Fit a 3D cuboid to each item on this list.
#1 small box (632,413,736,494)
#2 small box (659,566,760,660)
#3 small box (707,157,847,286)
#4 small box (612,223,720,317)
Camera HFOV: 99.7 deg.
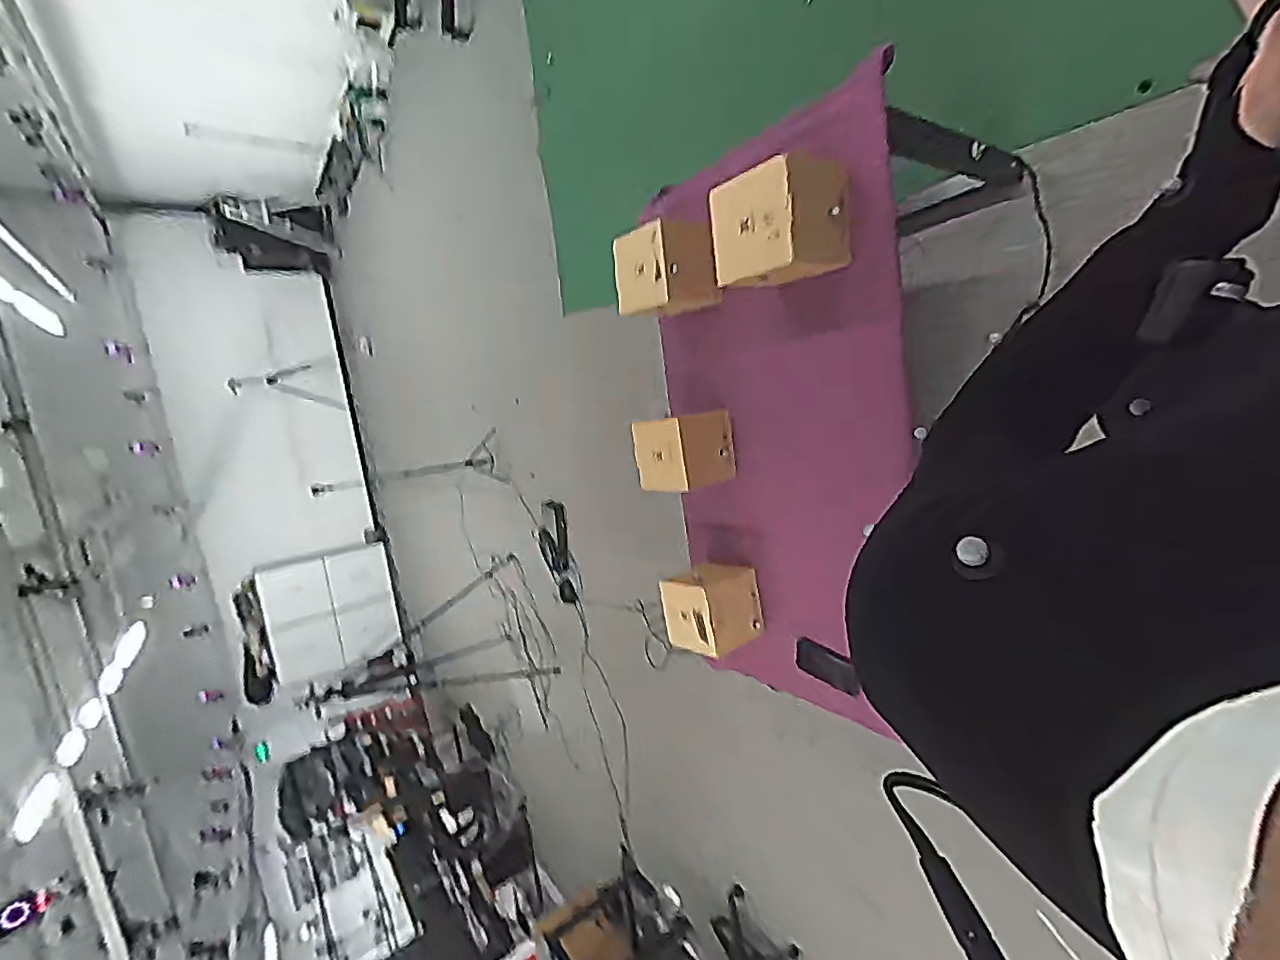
[{"bbox_3d":[0.105,-0.066,1.302,0.179,0.176,0.168,1,102,53],"label":"small box"},{"bbox_3d":[0.176,0.316,1.326,0.179,0.176,0.168,-4,97,55],"label":"small box"},{"bbox_3d":[0.246,-0.450,0.974,0.179,0.176,0.168,6,107,53],"label":"small box"},{"bbox_3d":[0.060,-0.468,1.231,0.179,0.176,0.168,6,107,53],"label":"small box"}]
